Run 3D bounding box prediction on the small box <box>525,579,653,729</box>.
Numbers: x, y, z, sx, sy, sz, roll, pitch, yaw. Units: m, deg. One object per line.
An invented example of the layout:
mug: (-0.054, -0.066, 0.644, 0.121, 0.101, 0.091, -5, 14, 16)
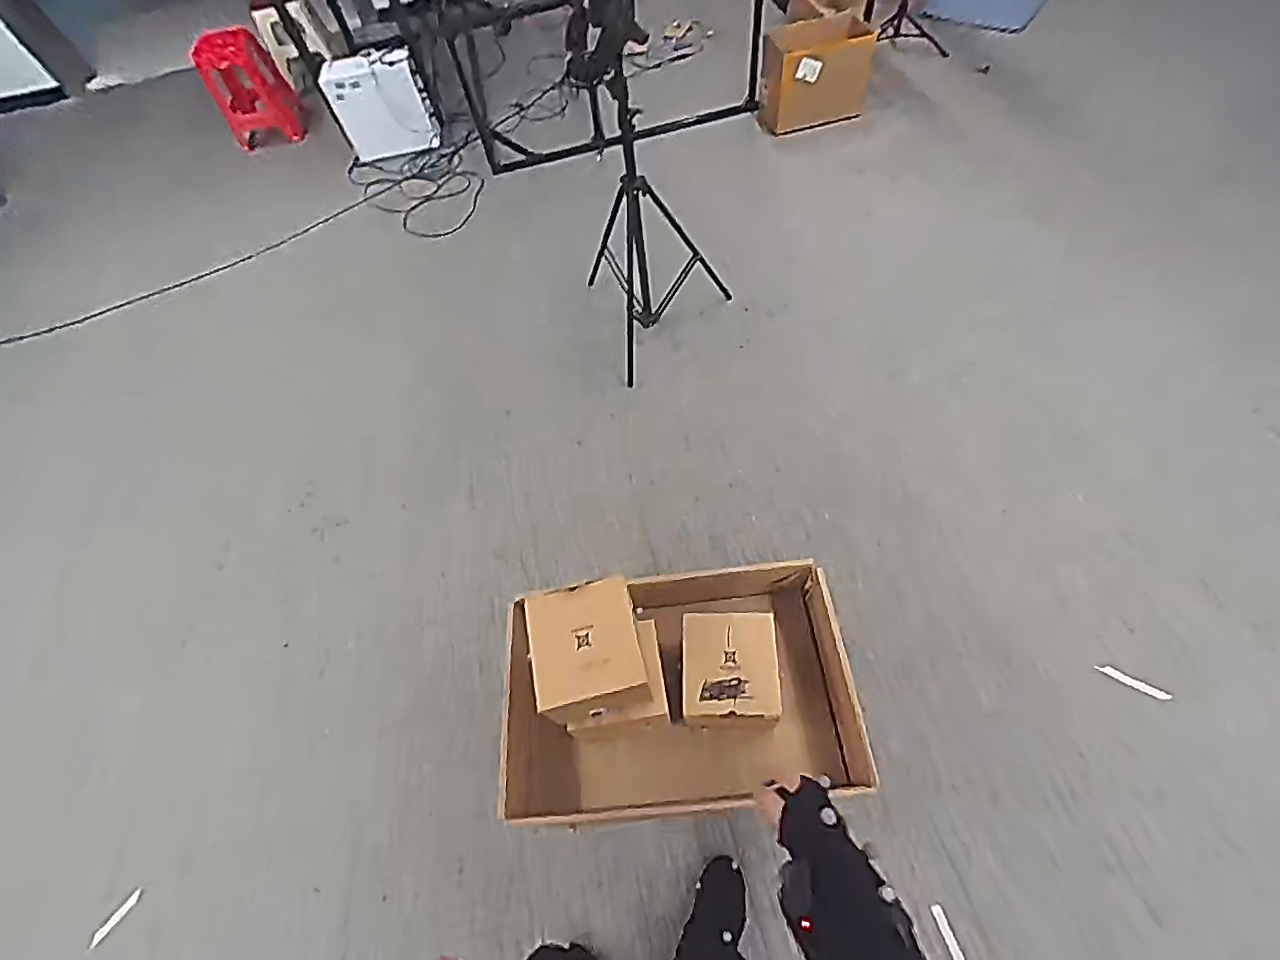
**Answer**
small box: (-0.080, 0.288, 0.886, 0.168, 0.176, 0.179, -14, 58, -2)
